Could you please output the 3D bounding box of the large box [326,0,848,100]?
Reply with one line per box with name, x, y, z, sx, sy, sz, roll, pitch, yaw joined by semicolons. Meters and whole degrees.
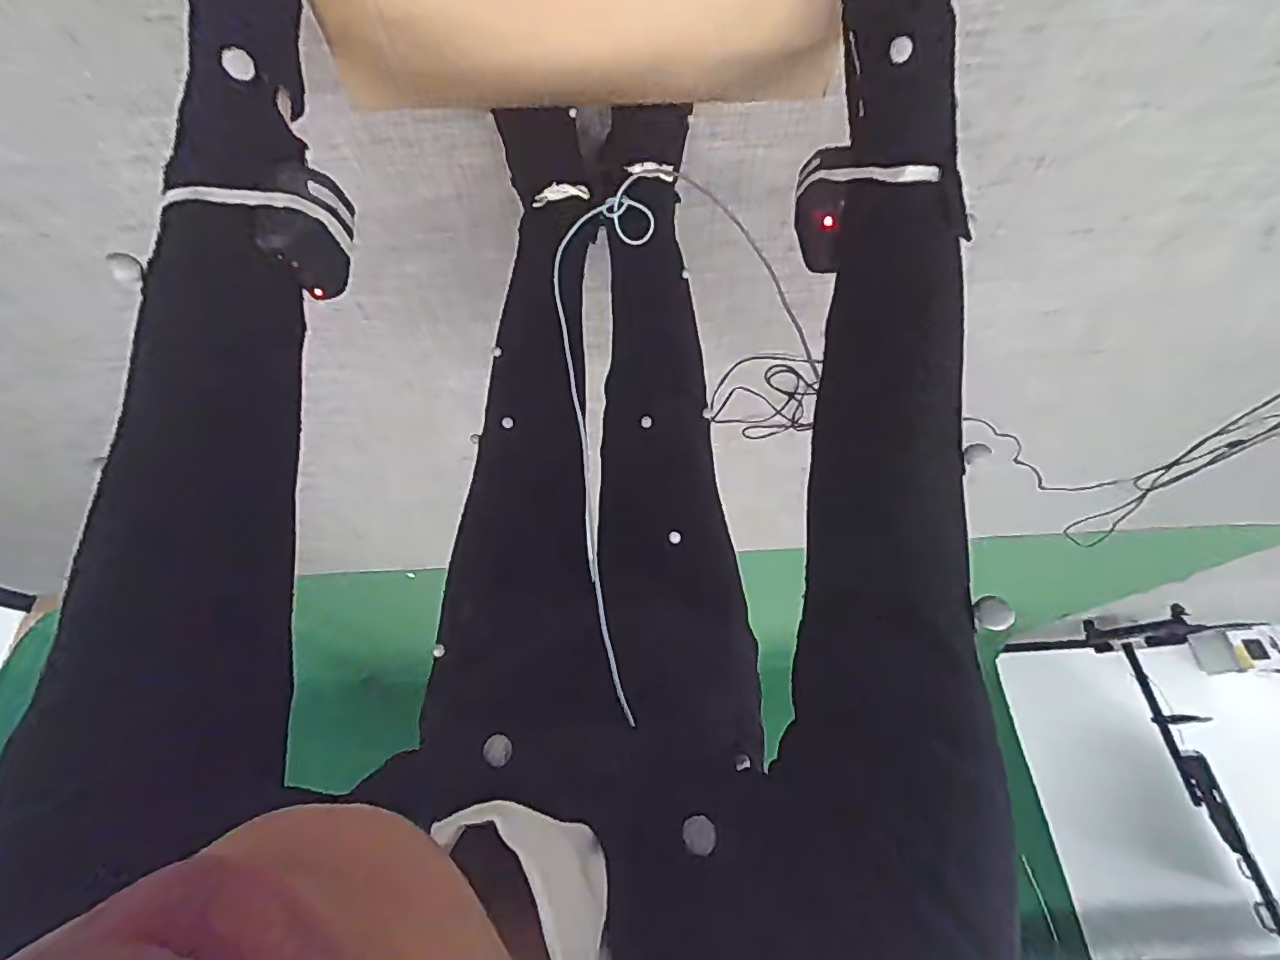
large box;-0.046;-0.539;0.400;0.408;0.320;0.320;-2;153;0
